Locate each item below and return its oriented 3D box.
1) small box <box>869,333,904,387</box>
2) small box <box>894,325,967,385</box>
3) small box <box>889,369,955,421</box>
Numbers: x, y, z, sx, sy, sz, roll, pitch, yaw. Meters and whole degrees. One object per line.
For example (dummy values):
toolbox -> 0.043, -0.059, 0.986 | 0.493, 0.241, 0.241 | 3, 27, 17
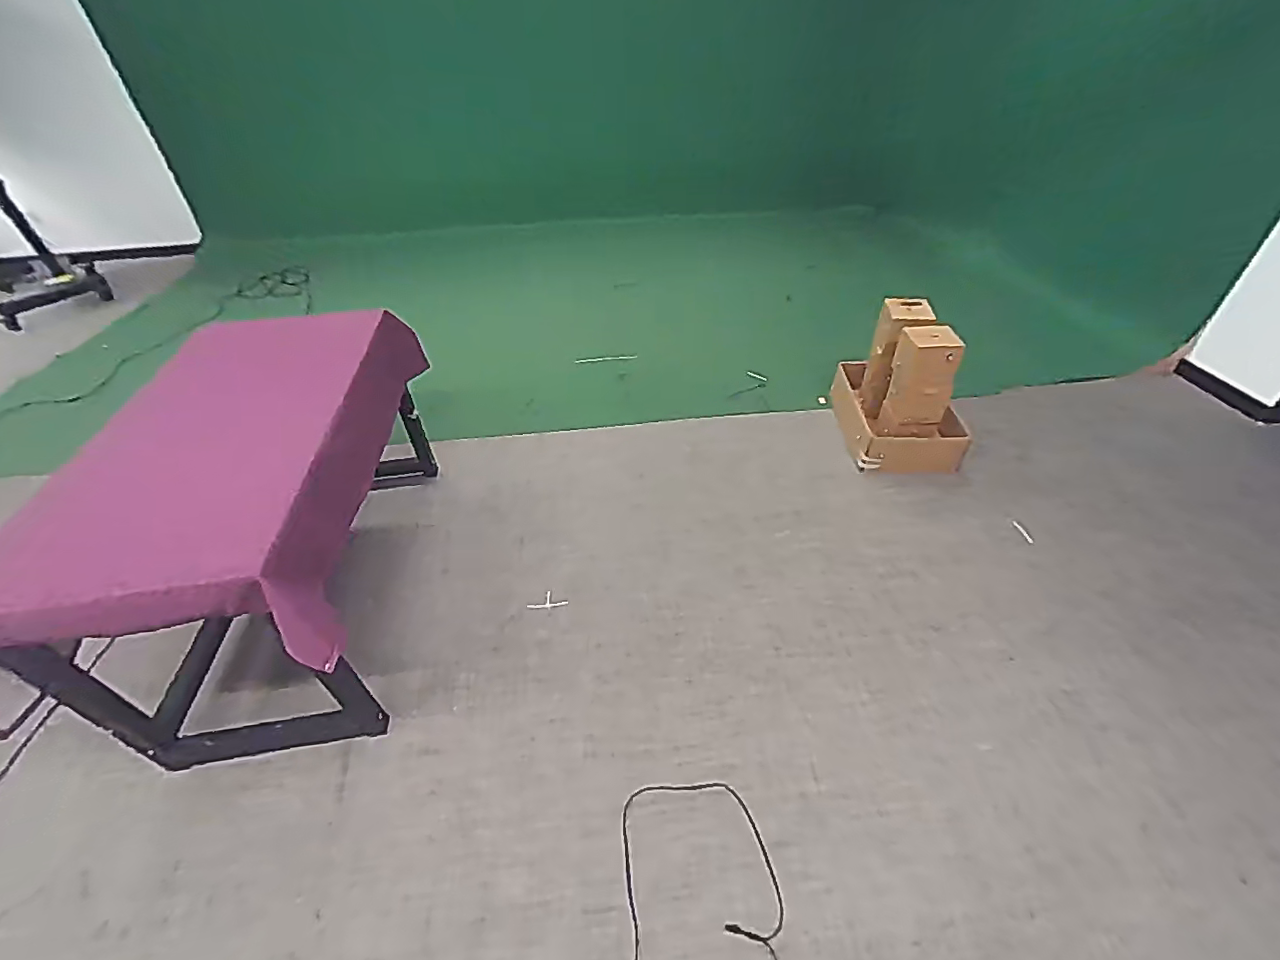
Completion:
small box -> 1.109, -0.522, 2.360 | 0.168, 0.176, 0.179 | 6, 45, 12
small box -> 1.099, -0.474, 2.057 | 0.179, 0.176, 0.168 | -1, 41, 4
small box -> 1.120, -0.347, 2.159 | 0.168, 0.176, 0.179 | -2, 40, 3
